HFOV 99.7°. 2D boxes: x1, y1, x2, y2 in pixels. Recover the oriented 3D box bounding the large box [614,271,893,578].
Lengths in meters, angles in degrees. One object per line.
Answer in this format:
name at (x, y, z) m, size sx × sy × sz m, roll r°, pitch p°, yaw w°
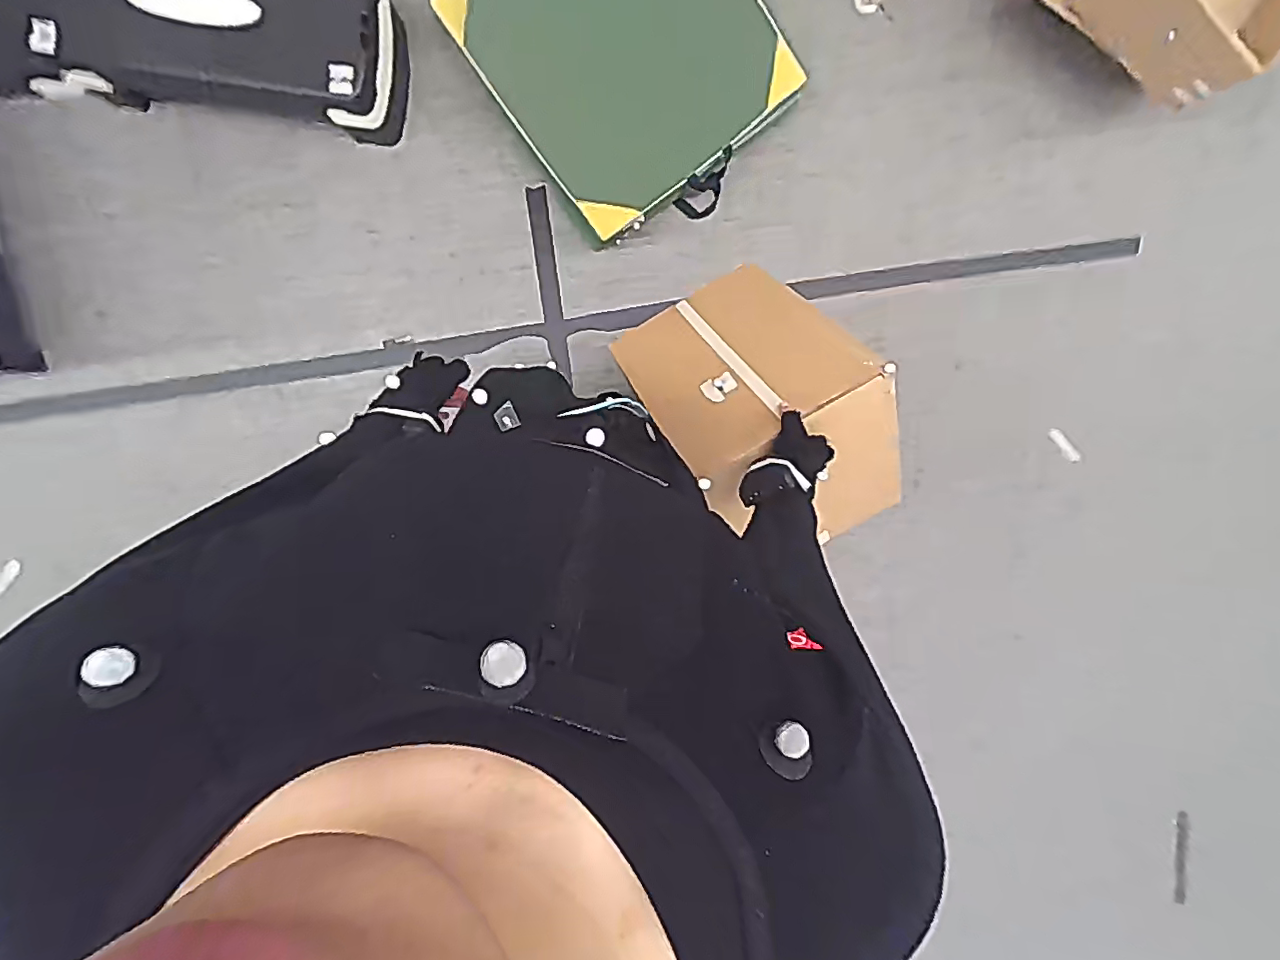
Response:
large box at (0.200, -0.106, 0.987) m, size 0.320 × 0.408 × 0.320 m, roll -30°, pitch 136°, yaw 3°
